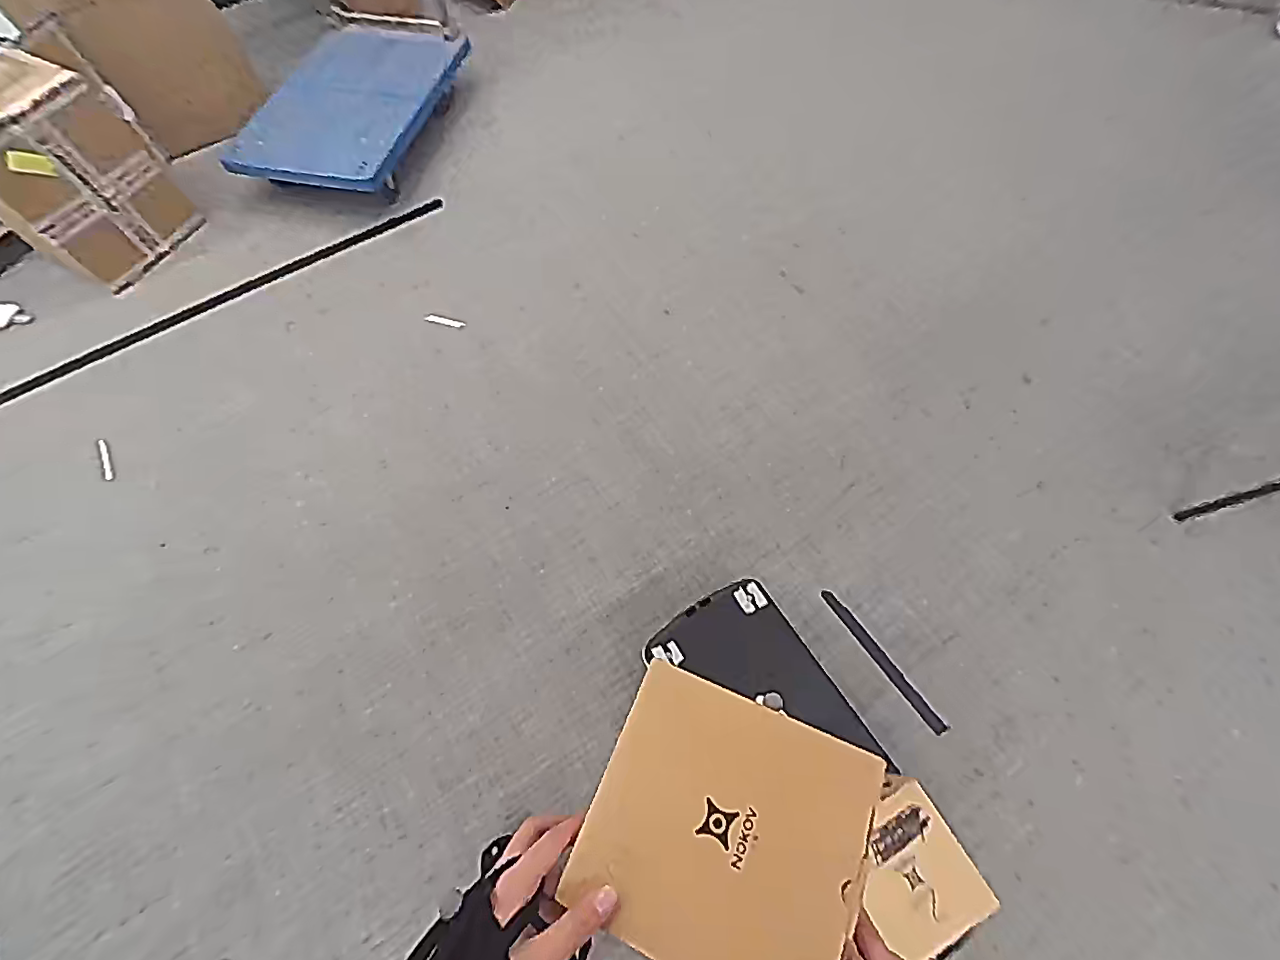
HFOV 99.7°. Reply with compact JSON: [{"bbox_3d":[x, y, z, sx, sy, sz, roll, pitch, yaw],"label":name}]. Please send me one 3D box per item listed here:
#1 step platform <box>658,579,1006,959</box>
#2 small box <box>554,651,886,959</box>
[{"bbox_3d":[0.320,0.534,1.037,0.286,0.204,0.684,-31,66,-12],"label":"step platform"},{"bbox_3d":[0.062,0.261,0.421,0.179,0.176,0.168,19,64,16],"label":"small box"}]
